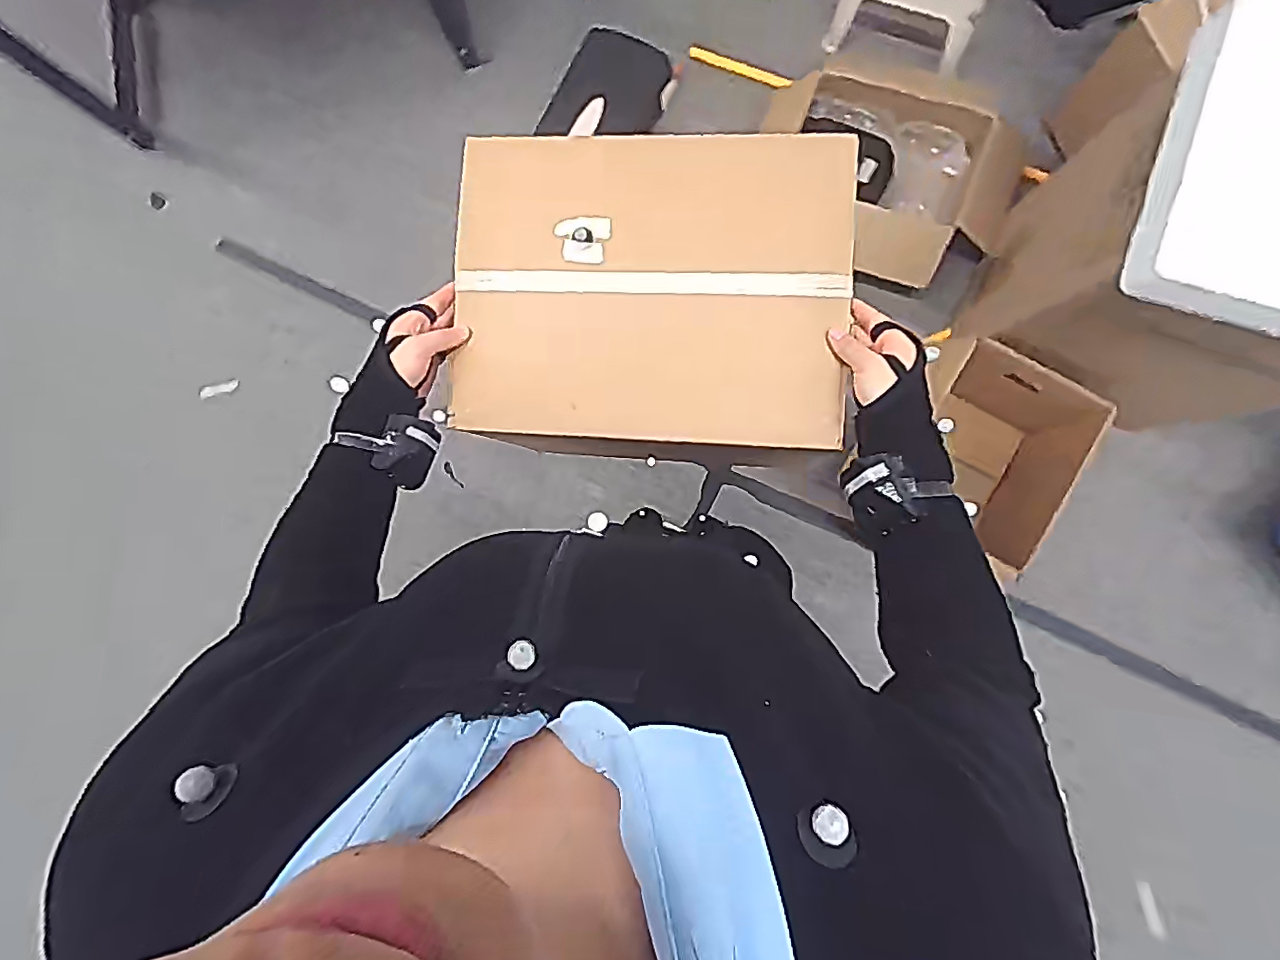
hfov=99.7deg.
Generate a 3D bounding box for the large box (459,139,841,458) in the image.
[{"bbox_3d":[0.024,-0.191,0.712,0.408,0.320,0.320,2,87,7],"label":"large box"}]
